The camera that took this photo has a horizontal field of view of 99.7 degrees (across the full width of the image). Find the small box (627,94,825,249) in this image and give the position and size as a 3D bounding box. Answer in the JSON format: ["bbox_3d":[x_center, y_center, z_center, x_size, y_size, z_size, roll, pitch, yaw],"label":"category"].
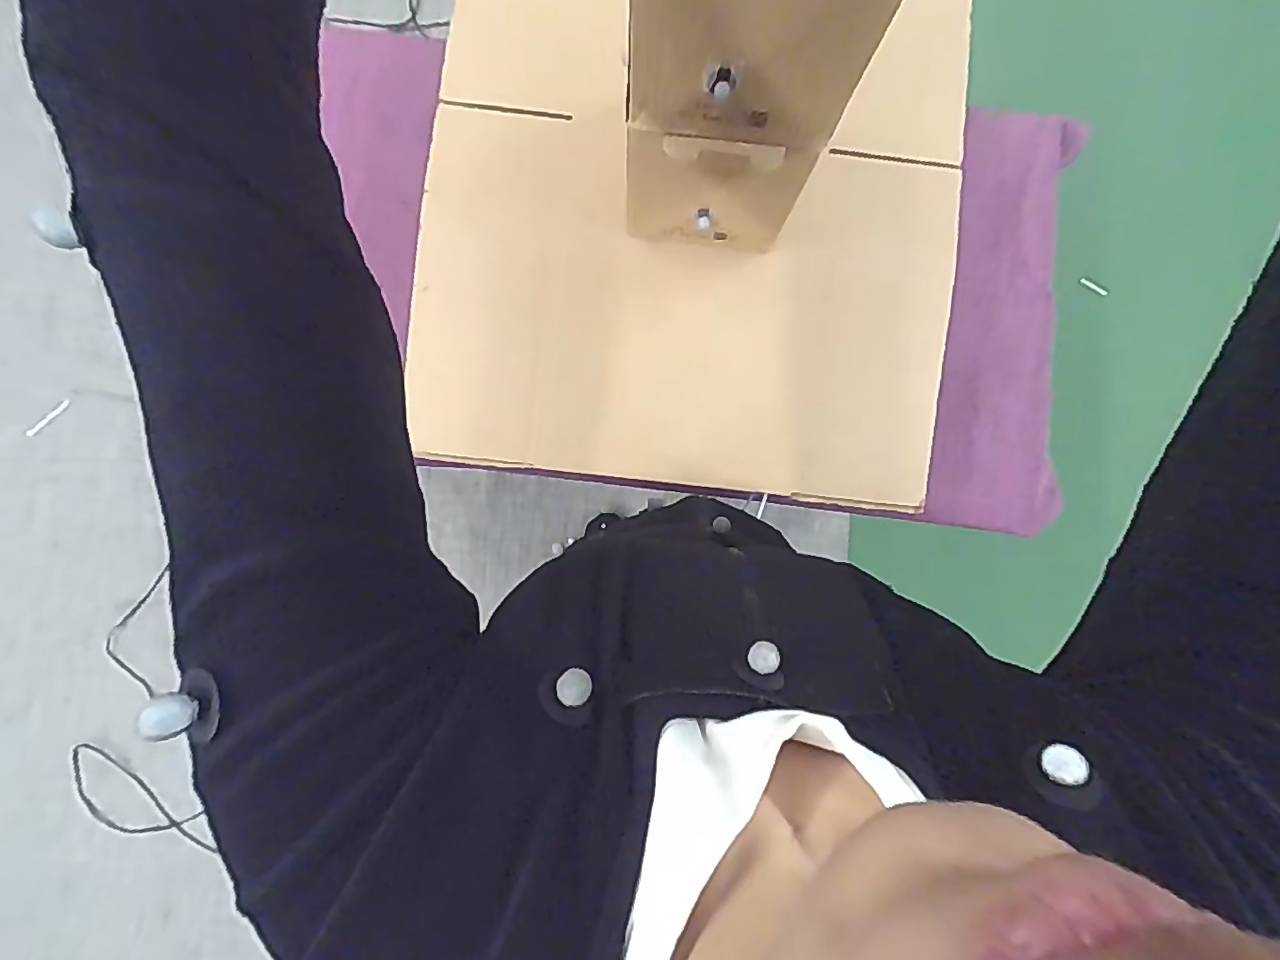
[{"bbox_3d":[0.078,-0.361,0.532,0.168,0.176,0.179,7,85,-1],"label":"small box"}]

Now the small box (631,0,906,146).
[{"bbox_3d":[0.083,-0.375,0.370,0.168,0.176,0.179,5,85,-2],"label":"small box"}]
